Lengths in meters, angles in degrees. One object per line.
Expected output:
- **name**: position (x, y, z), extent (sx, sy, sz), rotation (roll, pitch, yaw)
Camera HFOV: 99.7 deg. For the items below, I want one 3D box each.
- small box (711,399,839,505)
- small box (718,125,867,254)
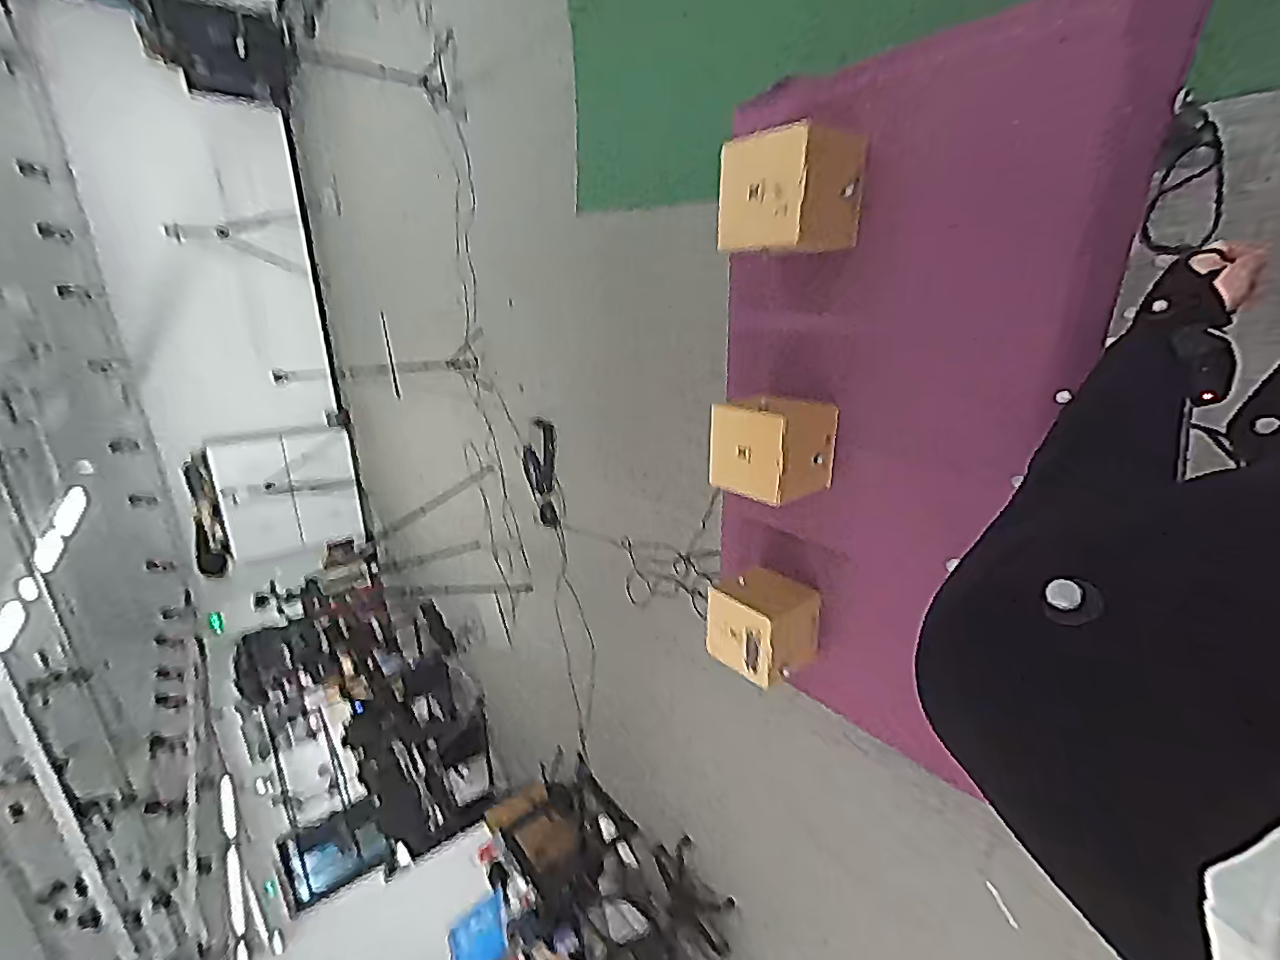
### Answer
- **small box**: position (0.263, -0.065, 1.065), extent (0.179, 0.176, 0.168), rotation (19, 116, 47)
- **small box**: position (0.256, -0.483, 0.926), extent (0.179, 0.176, 0.168), rotation (21, 119, 47)
